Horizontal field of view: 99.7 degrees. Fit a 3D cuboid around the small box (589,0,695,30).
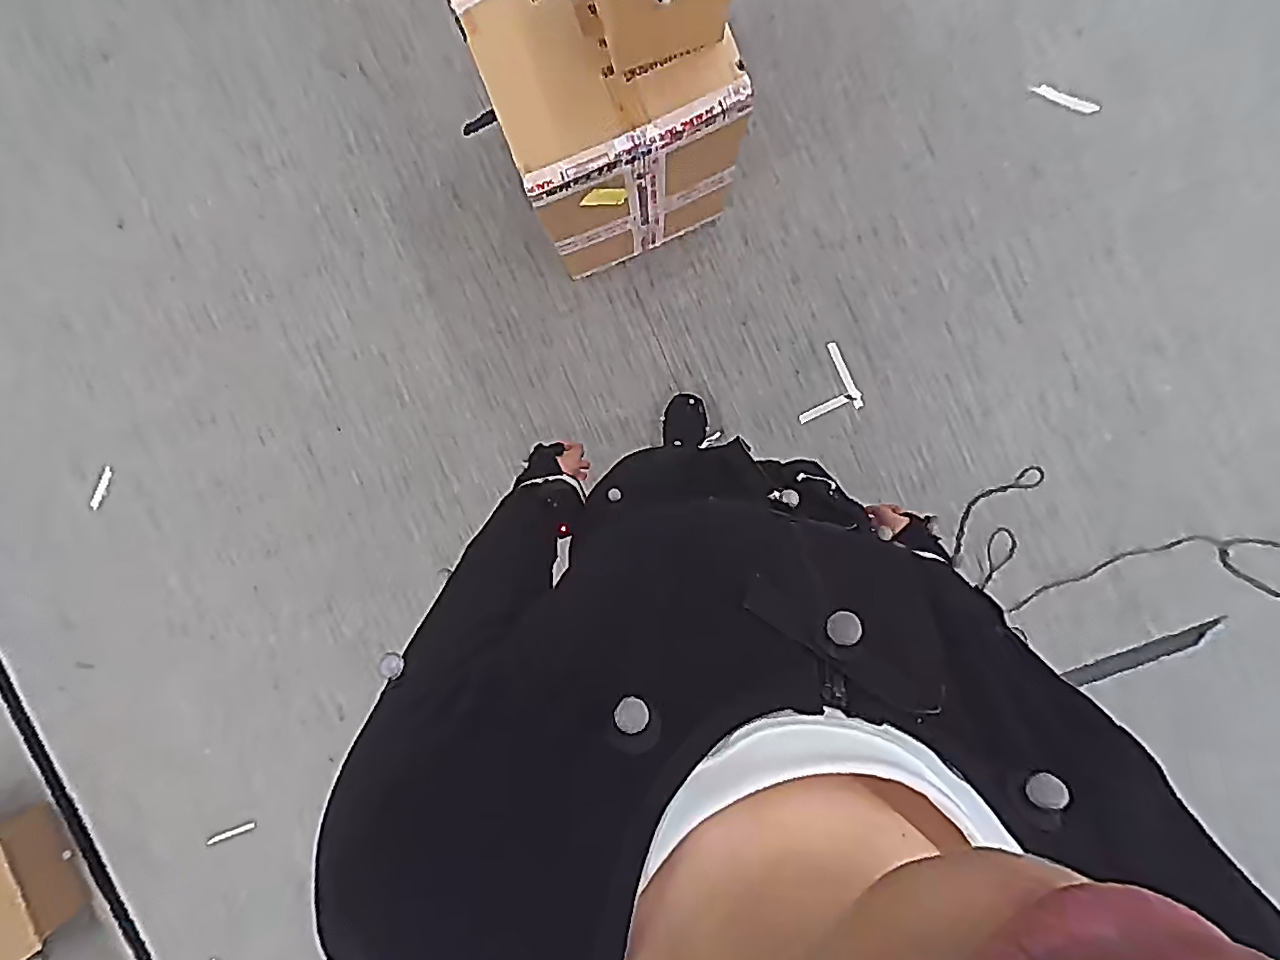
[{"bbox_3d":[-0.007,-0.776,0.741,0.179,0.176,0.168,-18,95,2],"label":"small box"}]
